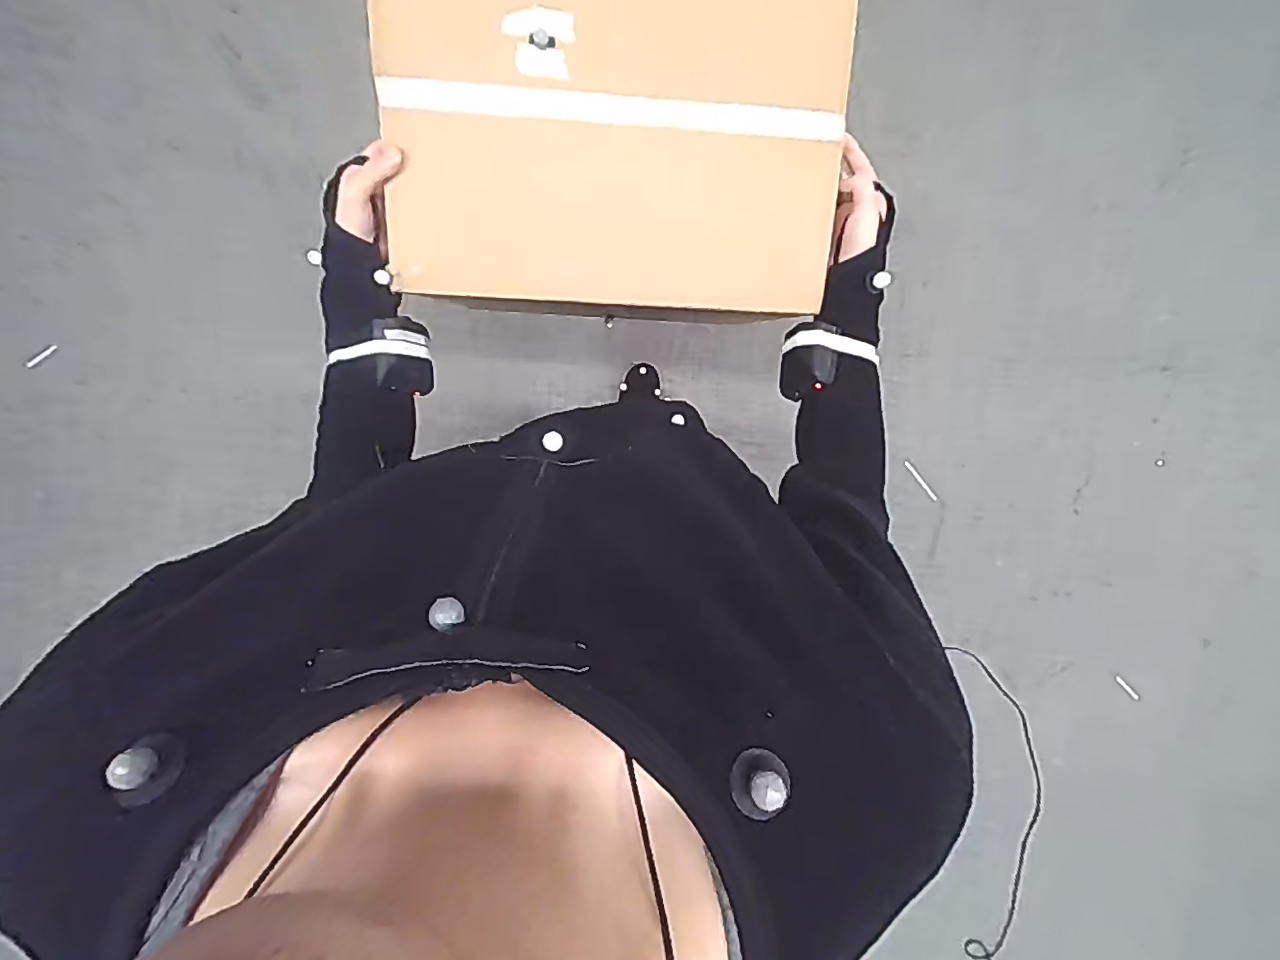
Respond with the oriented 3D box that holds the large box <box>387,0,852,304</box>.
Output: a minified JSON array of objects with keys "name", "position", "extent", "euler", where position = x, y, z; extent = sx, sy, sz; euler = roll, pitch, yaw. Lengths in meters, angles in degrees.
[{"name":"large box","position":[-0.024,-0.373,0.623],"extent":[0.408,0.320,0.320],"euler":[2,105,-4]}]
